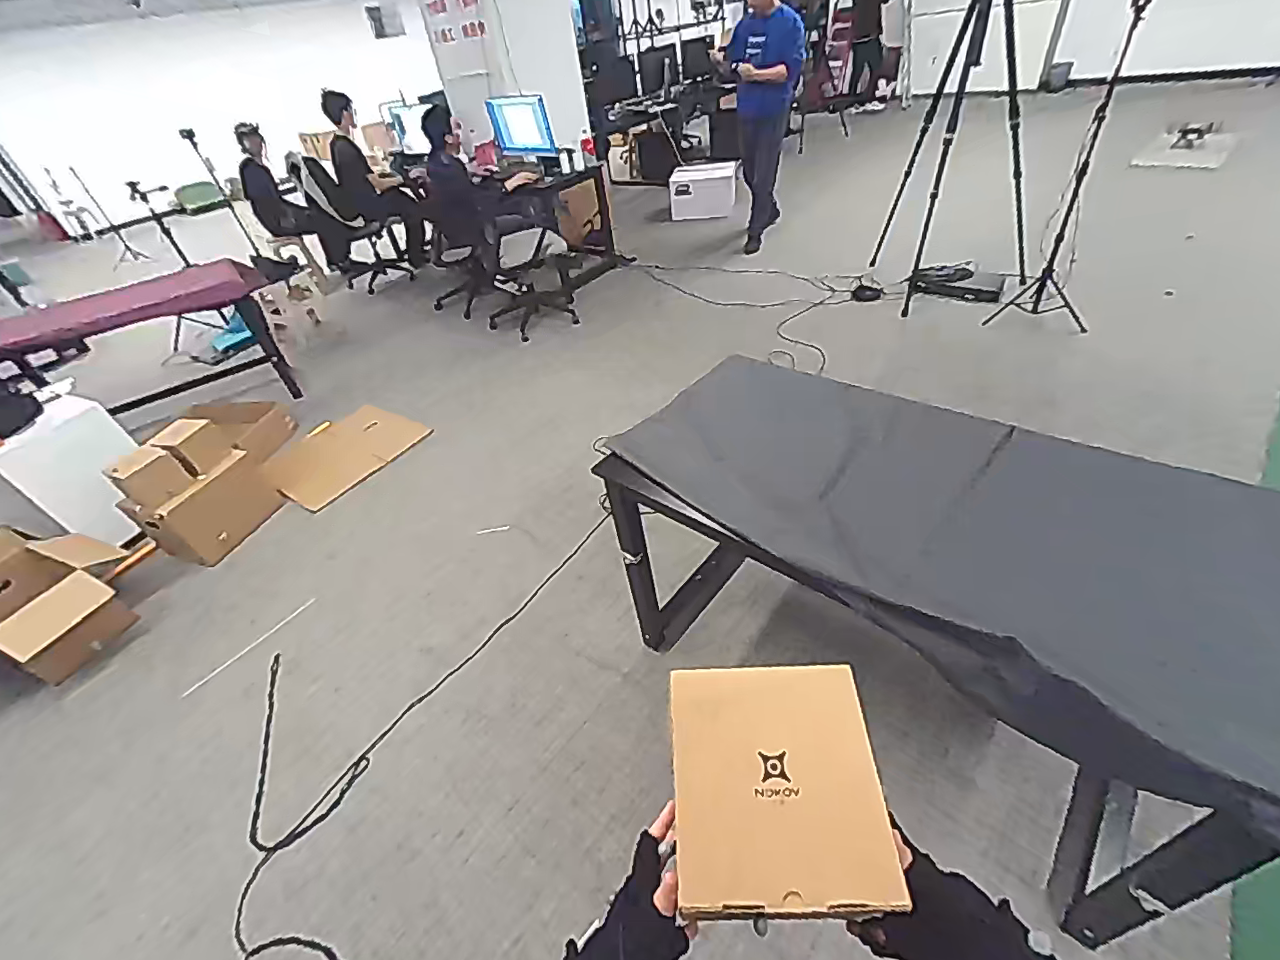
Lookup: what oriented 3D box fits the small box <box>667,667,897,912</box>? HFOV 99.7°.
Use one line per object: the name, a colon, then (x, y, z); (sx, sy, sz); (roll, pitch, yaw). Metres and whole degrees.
small box: (0.110, 0.293, 0.509); (0.168, 0.176, 0.179); (-2, 51, 2)
